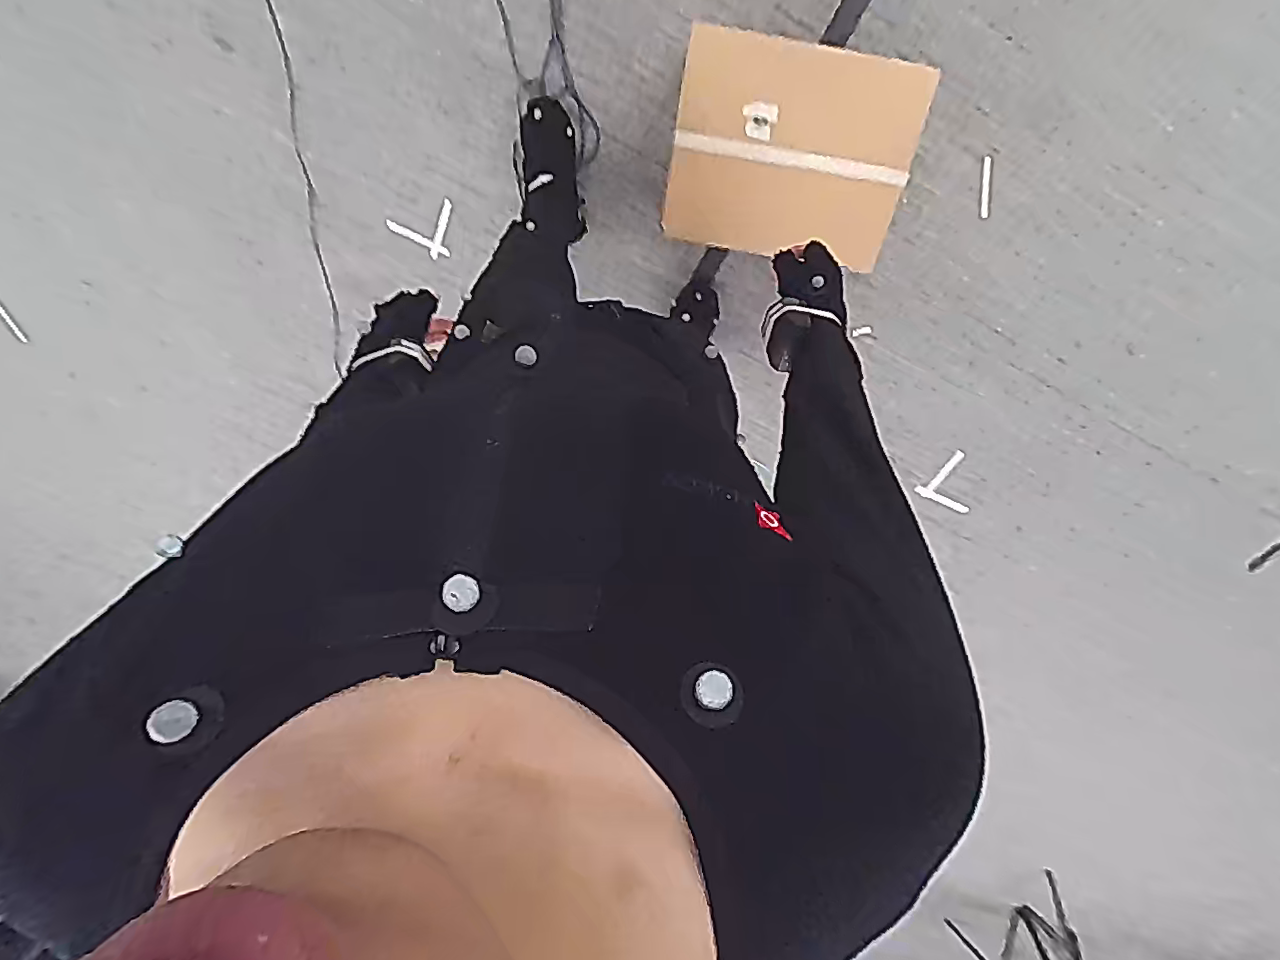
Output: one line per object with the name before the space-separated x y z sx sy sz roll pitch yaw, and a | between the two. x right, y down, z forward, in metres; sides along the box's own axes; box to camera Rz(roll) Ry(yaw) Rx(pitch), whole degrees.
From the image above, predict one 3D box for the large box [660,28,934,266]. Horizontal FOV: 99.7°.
large box | 0.265 -0.632 1.060 0.408 0.320 0.320 9 120 -1
